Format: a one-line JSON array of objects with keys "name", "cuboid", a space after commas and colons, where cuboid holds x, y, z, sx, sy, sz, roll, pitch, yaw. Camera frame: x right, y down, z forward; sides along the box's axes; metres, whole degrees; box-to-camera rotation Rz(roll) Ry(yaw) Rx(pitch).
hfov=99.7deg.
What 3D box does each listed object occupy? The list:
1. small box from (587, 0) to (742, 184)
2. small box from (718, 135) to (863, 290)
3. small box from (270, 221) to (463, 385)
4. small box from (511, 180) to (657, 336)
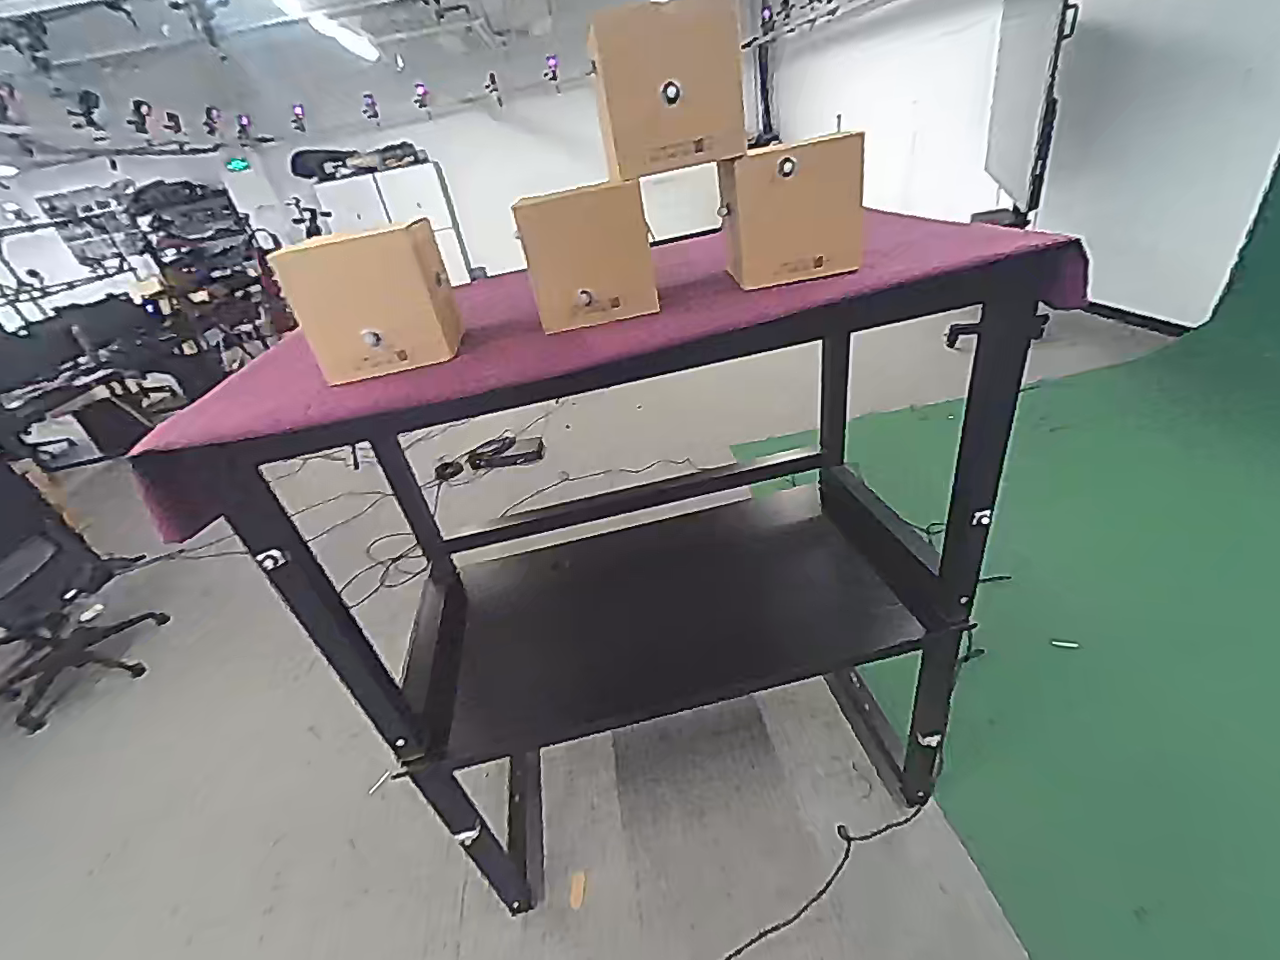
[{"name": "small box", "cuboid": [0.030, -0.494, 0.706, 0.168, 0.176, 0.179, -12, 31, 0]}, {"name": "small box", "cuboid": [0.211, -0.386, 0.789, 0.168, 0.176, 0.179, -10, 30, 5]}, {"name": "small box", "cuboid": [-0.356, -0.248, 0.748, 0.168, 0.176, 0.179, -14, 32, -4]}, {"name": "small box", "cuboid": [-0.076, -0.322, 0.781, 0.168, 0.176, 0.179, -12, 32, 0]}]
